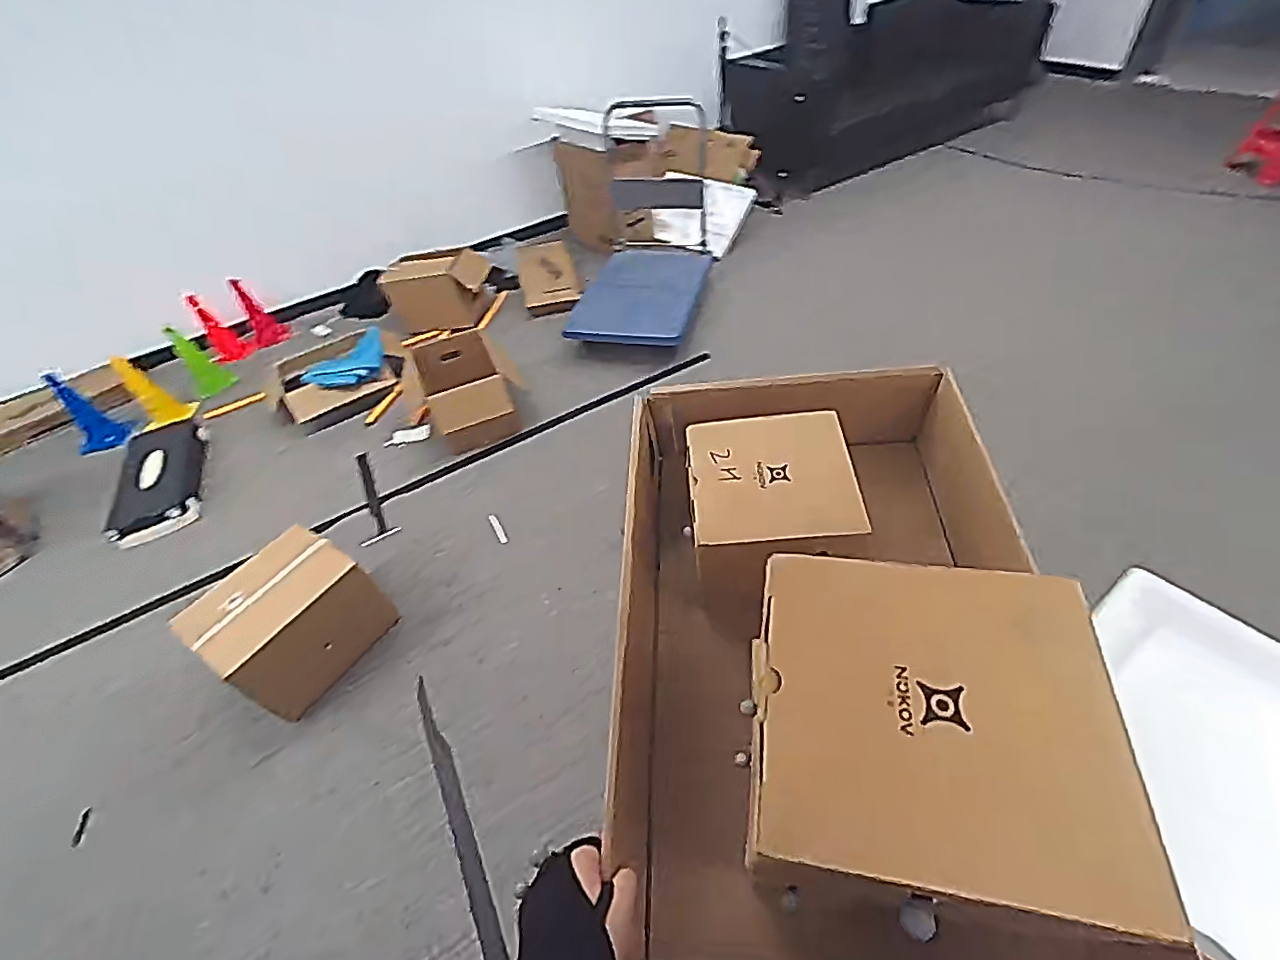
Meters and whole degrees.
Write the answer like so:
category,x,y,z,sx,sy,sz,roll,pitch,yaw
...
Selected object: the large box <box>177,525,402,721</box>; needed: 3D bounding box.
category,x,y,z,sx,sy,sz,roll,pitch,yaw
large box,-1.014,0.418,1.615,0.320,0.320,0.408,22,55,27
